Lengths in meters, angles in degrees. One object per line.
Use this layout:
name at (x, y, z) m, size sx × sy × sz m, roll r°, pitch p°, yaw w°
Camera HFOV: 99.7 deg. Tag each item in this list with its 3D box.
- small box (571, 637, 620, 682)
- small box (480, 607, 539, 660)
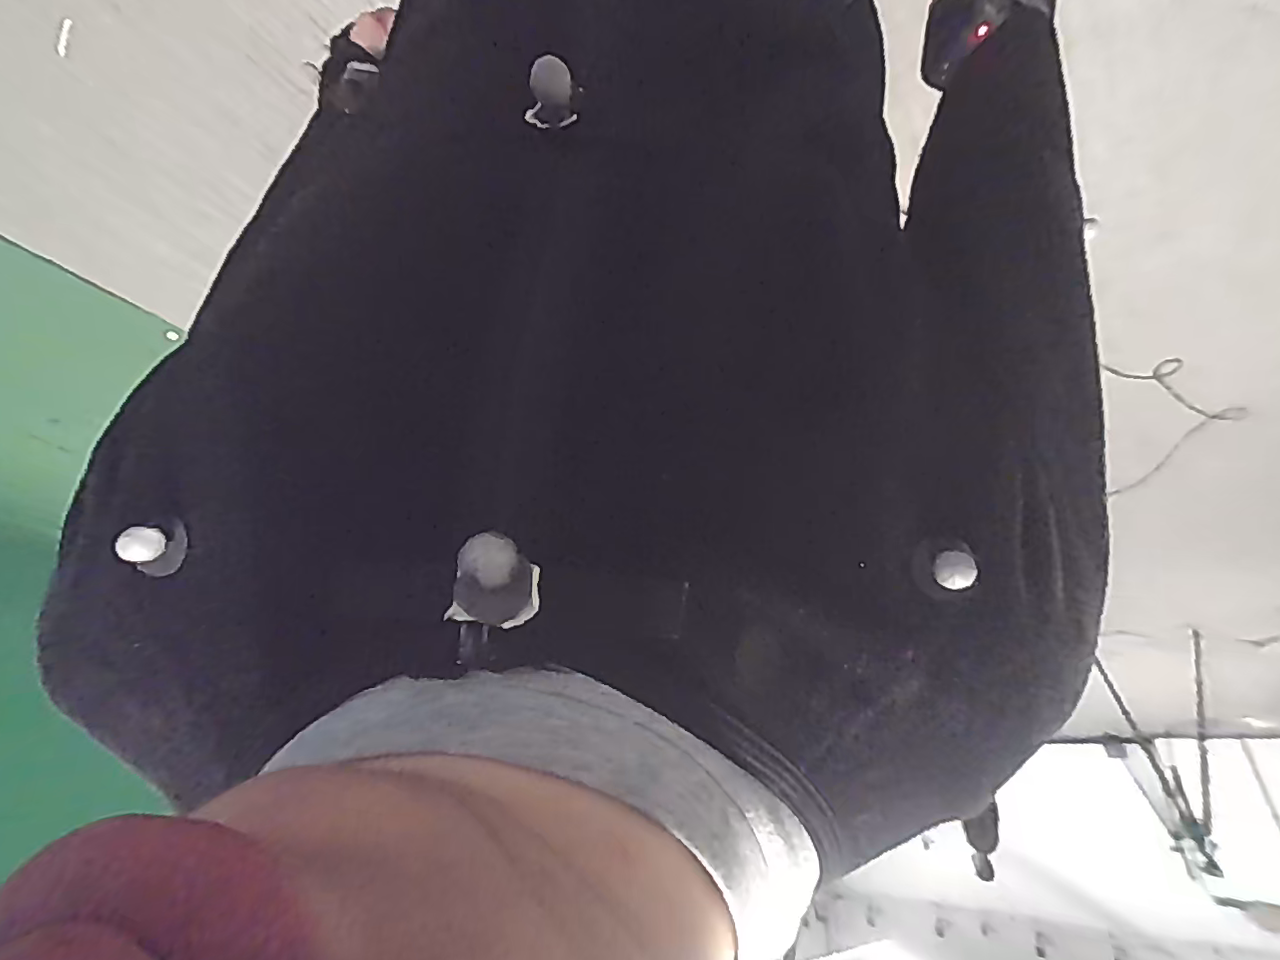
small box at (-0.207, 0.864, 2.601) m, size 0.168 × 0.176 × 0.179 m, roll 30°, pitch 141°, yaw -35°
small box at (-0.552, 0.655, 2.305) m, size 0.179 × 0.176 × 0.168 m, roll -24°, pitch 139°, yaw 38°
